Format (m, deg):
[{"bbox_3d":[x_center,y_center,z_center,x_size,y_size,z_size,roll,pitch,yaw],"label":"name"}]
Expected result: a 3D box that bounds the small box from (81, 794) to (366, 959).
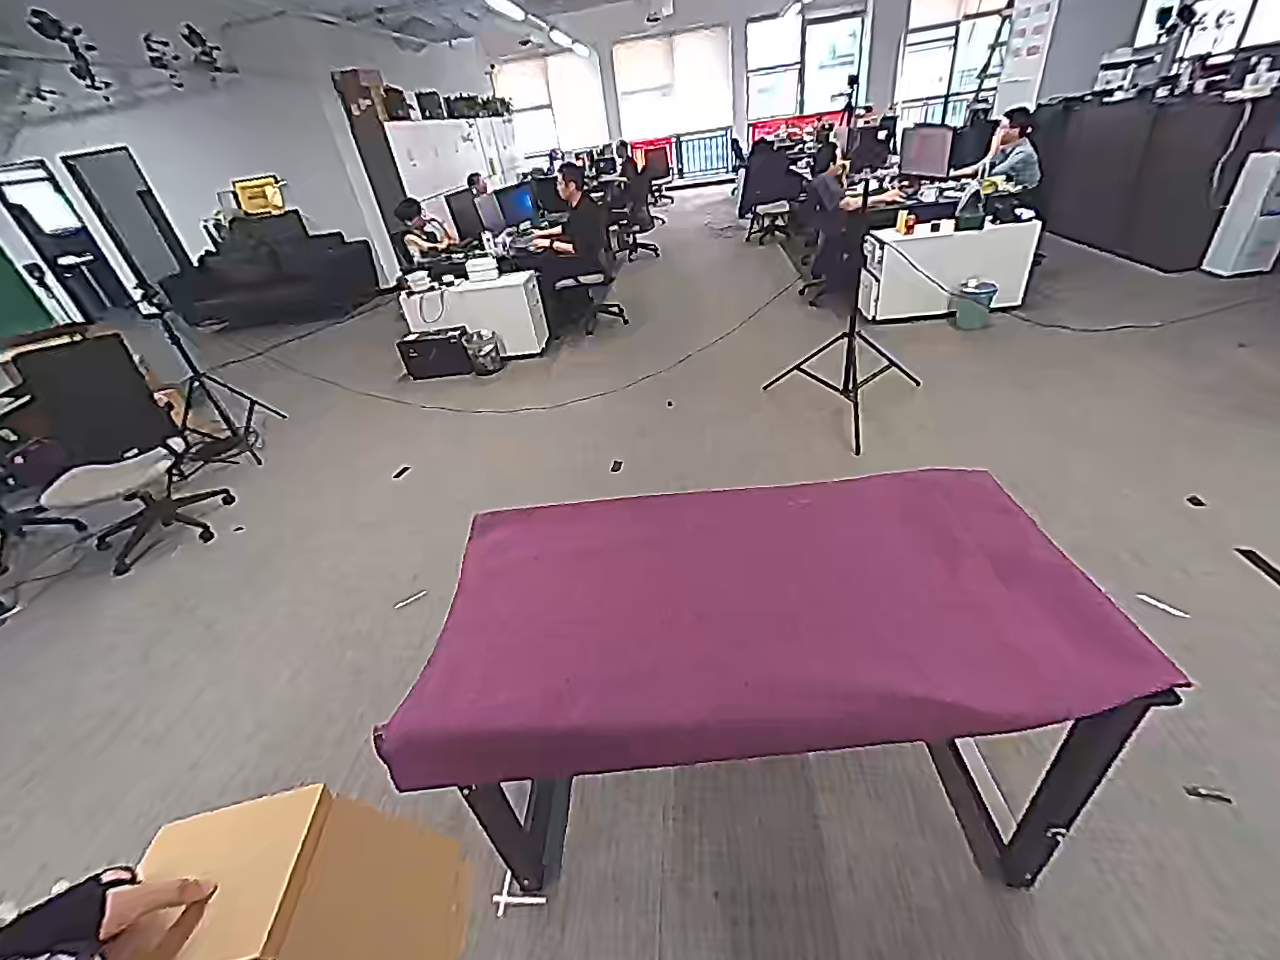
[{"bbox_3d":[-0.406,0.465,0.554,0.179,0.176,0.168,-6,24,-8],"label":"small box"}]
